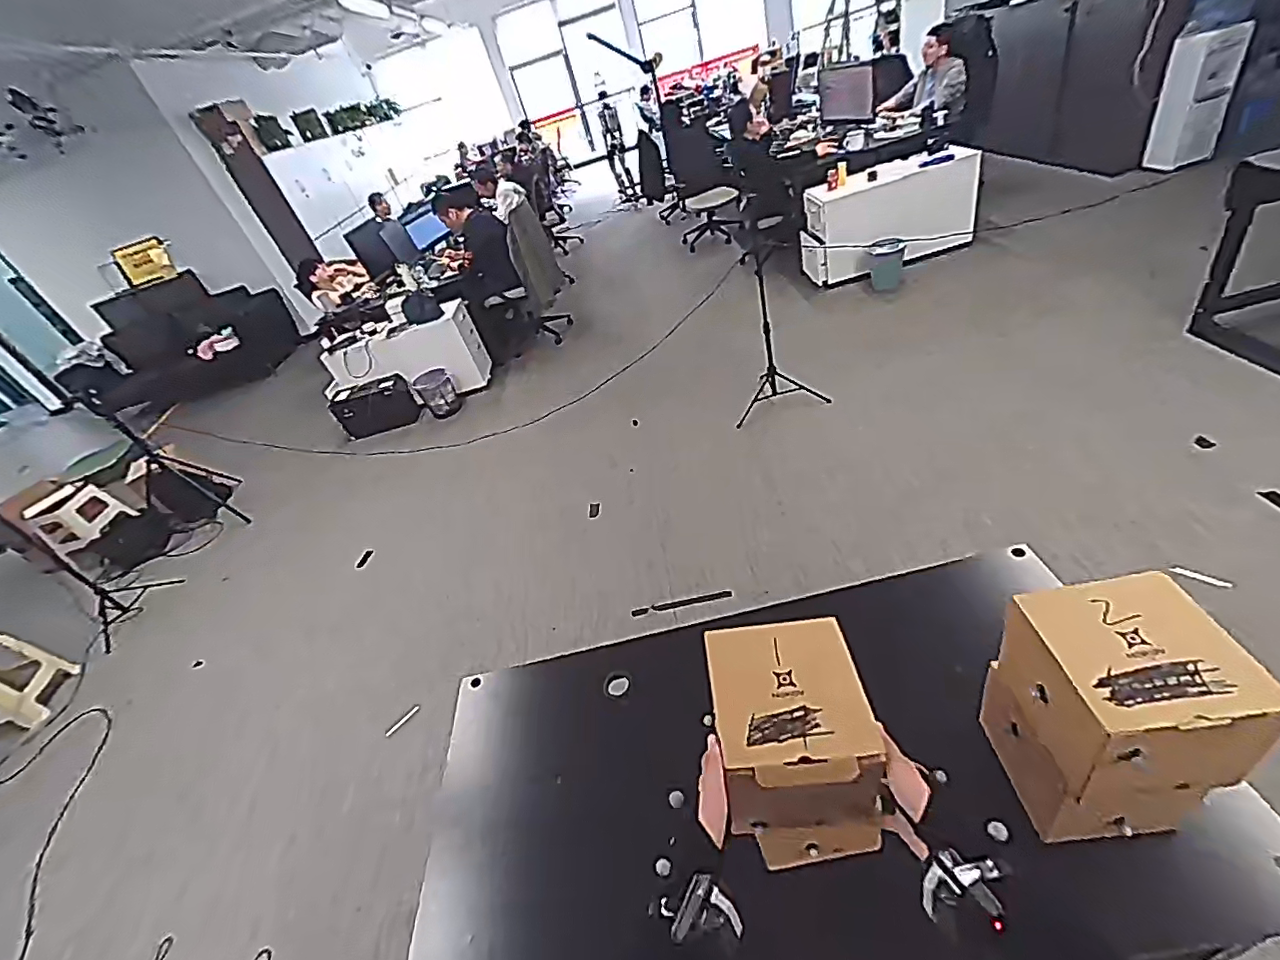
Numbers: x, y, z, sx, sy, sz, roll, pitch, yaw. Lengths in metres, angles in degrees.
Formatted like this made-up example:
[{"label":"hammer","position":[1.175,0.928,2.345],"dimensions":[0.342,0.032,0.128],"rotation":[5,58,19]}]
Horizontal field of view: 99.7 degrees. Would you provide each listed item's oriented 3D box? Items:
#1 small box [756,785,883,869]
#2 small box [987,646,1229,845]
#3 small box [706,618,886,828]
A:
[{"label":"small box","position":[0.236,0.428,0.789],"dimensions":[0.168,0.176,0.179],"rotation":[-15,37,5]},{"label":"small box","position":[0.593,0.353,0.721],"dimensions":[0.168,0.176,0.179],"rotation":[-13,37,10]},{"label":"small box","position":[0.175,0.294,0.648],"dimensions":[0.168,0.176,0.179],"rotation":[-7,38,5]}]
